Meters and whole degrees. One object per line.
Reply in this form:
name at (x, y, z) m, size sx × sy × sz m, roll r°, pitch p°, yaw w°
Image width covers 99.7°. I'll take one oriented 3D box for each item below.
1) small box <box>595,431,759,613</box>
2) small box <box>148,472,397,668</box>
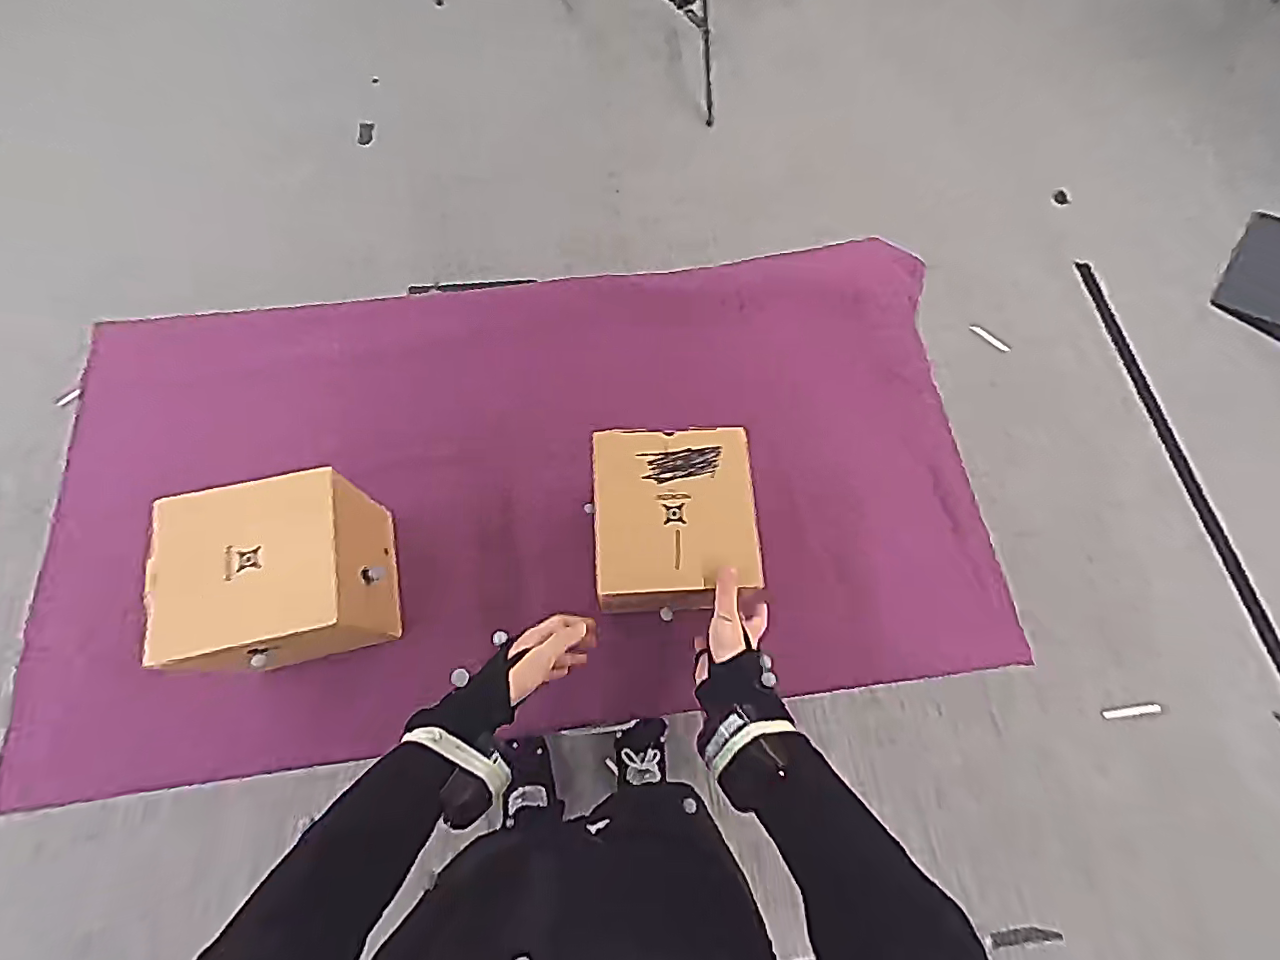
small box at (0.032, 0.057, 0.636) m, size 0.168 × 0.176 × 0.179 m, roll -2°, pitch 71°, yaw -2°
small box at (-0.389, 0.107, 0.606) m, size 0.179 × 0.176 × 0.168 m, roll -12°, pitch 71°, yaw -6°
